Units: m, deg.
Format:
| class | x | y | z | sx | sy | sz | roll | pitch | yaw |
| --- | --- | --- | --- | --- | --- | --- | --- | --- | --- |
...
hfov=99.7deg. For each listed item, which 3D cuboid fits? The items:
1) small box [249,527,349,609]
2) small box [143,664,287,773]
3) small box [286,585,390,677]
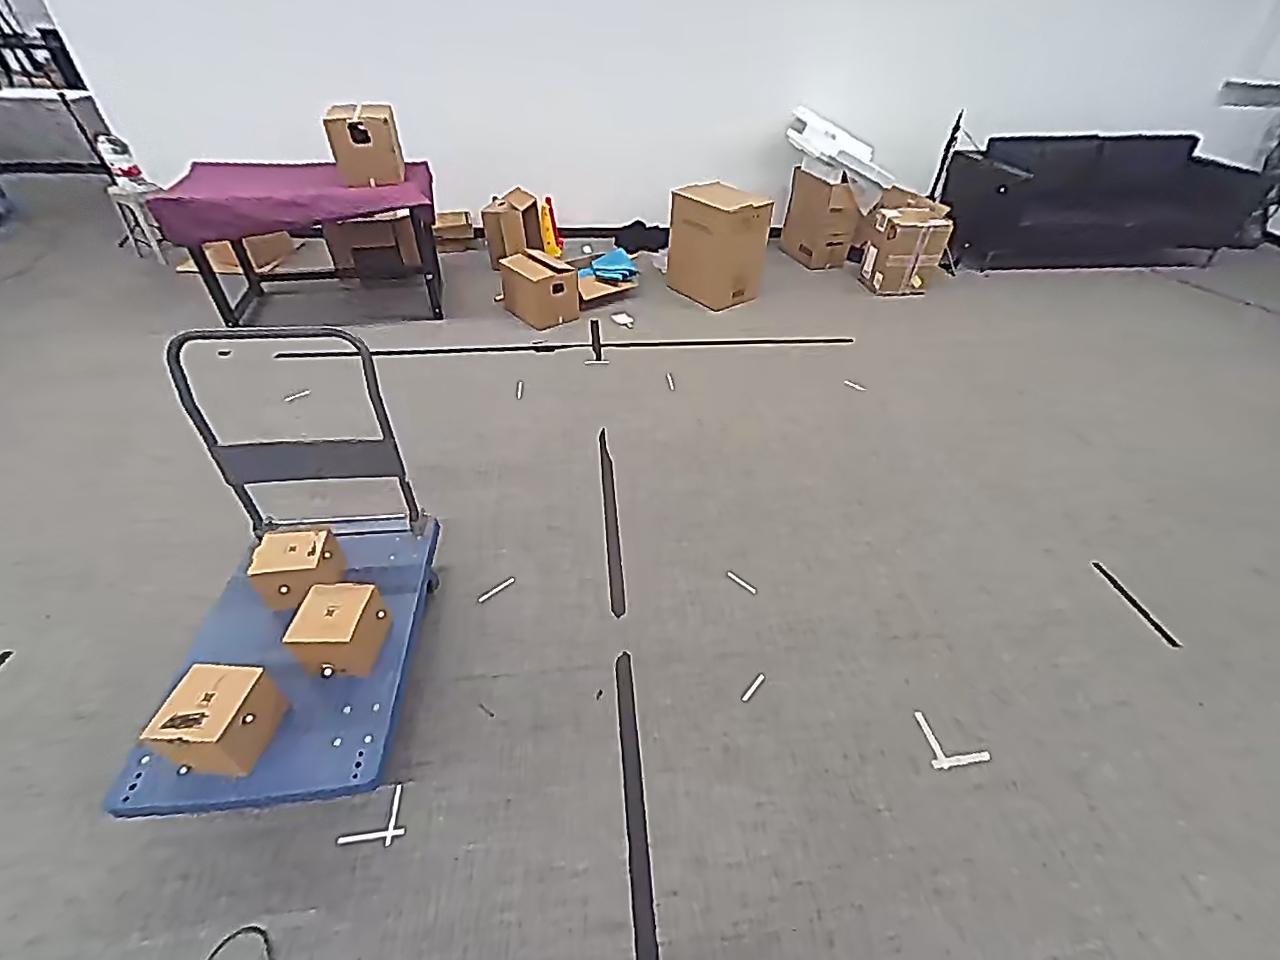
| class | x | y | z | sx | sy | sz | roll | pitch | yaw |
| --- | --- | --- | --- | --- | --- | --- | --- | --- | --- |
| small box | -0.988 | 0.261 | 1.584 | 0.179 | 0.176 | 0.168 | -6 | 42 | -9 |
| small box | -0.962 | 0.552 | 1.248 | 0.168 | 0.176 | 0.179 | 4 | 40 | 1 |
| small box | -0.788 | 0.401 | 1.437 | 0.168 | 0.176 | 0.179 | 0 | 42 | -1 |
